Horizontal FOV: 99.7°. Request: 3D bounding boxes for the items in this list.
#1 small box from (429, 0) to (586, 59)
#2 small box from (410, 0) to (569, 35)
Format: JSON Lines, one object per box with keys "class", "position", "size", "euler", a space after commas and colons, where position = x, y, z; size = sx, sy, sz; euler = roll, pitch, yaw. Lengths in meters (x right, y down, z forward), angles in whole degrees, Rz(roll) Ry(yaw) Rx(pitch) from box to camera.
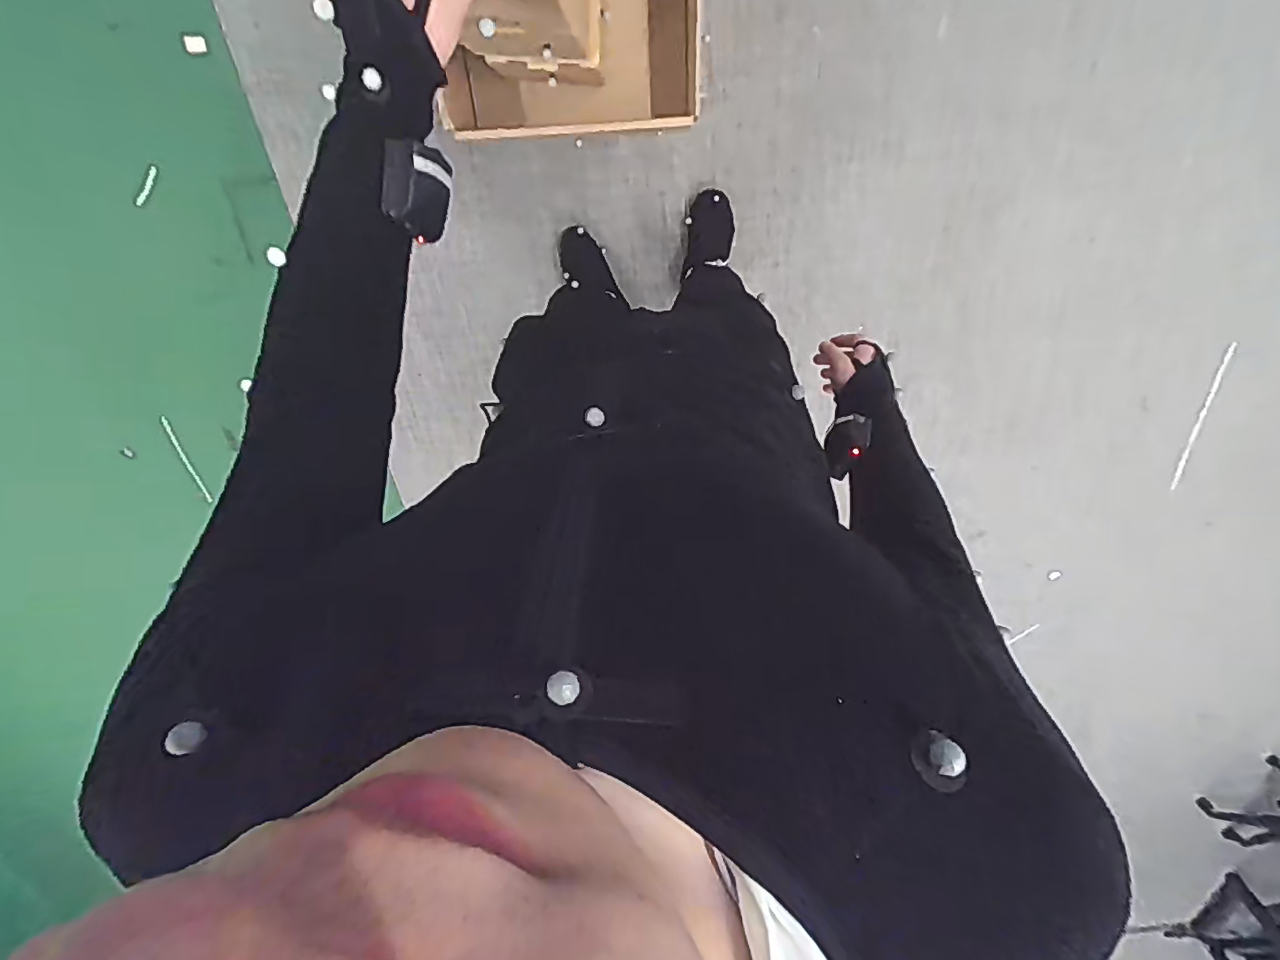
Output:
{"class": "small box", "position": [-0.154, -0.631, 0.649], "size": [0.168, 0.176, 0.179], "euler": [3, 119, -2]}
{"class": "small box", "position": [-0.156, -0.552, 0.506], "size": [0.168, 0.176, 0.179], "euler": [3, 120, -2]}
